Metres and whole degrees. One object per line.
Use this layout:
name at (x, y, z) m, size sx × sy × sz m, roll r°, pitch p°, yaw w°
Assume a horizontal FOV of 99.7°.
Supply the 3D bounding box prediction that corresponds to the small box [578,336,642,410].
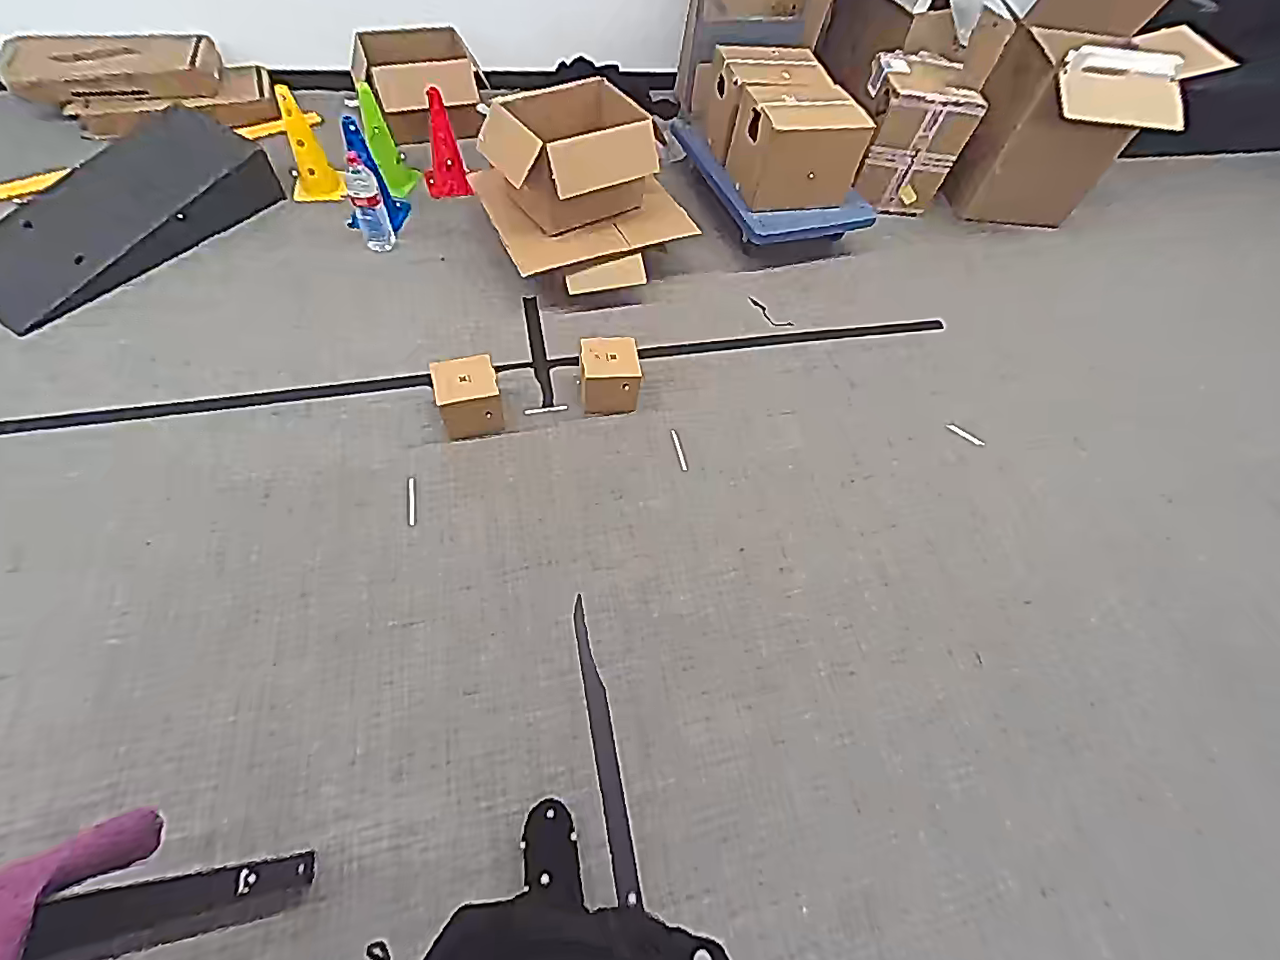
small box at (-0.100, -0.337, 1.719) m, size 0.179 × 0.176 × 0.168 m, roll -4°, pitch 59°, yaw -10°

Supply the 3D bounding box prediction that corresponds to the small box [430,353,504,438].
small box at (-0.511, -0.250, 1.616) m, size 0.179 × 0.176 × 0.168 m, roll -14°, pitch 61°, yaw -14°
